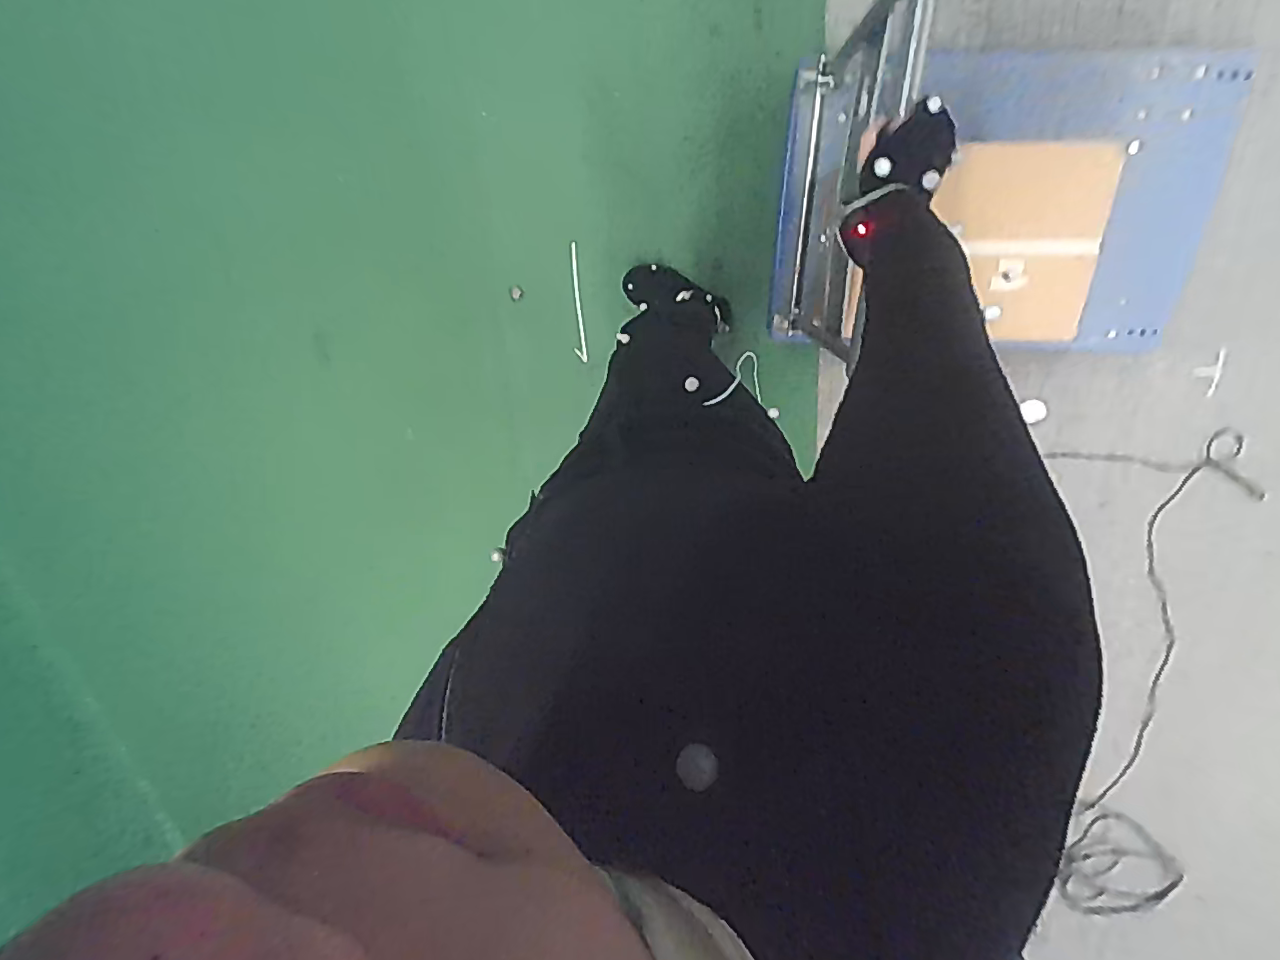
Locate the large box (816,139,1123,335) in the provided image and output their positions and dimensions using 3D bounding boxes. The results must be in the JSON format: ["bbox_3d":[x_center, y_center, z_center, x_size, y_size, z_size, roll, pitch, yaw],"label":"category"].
[{"bbox_3d":[0.596,-0.465,1.079,0.408,0.320,0.320,2,113,5],"label":"large box"}]
